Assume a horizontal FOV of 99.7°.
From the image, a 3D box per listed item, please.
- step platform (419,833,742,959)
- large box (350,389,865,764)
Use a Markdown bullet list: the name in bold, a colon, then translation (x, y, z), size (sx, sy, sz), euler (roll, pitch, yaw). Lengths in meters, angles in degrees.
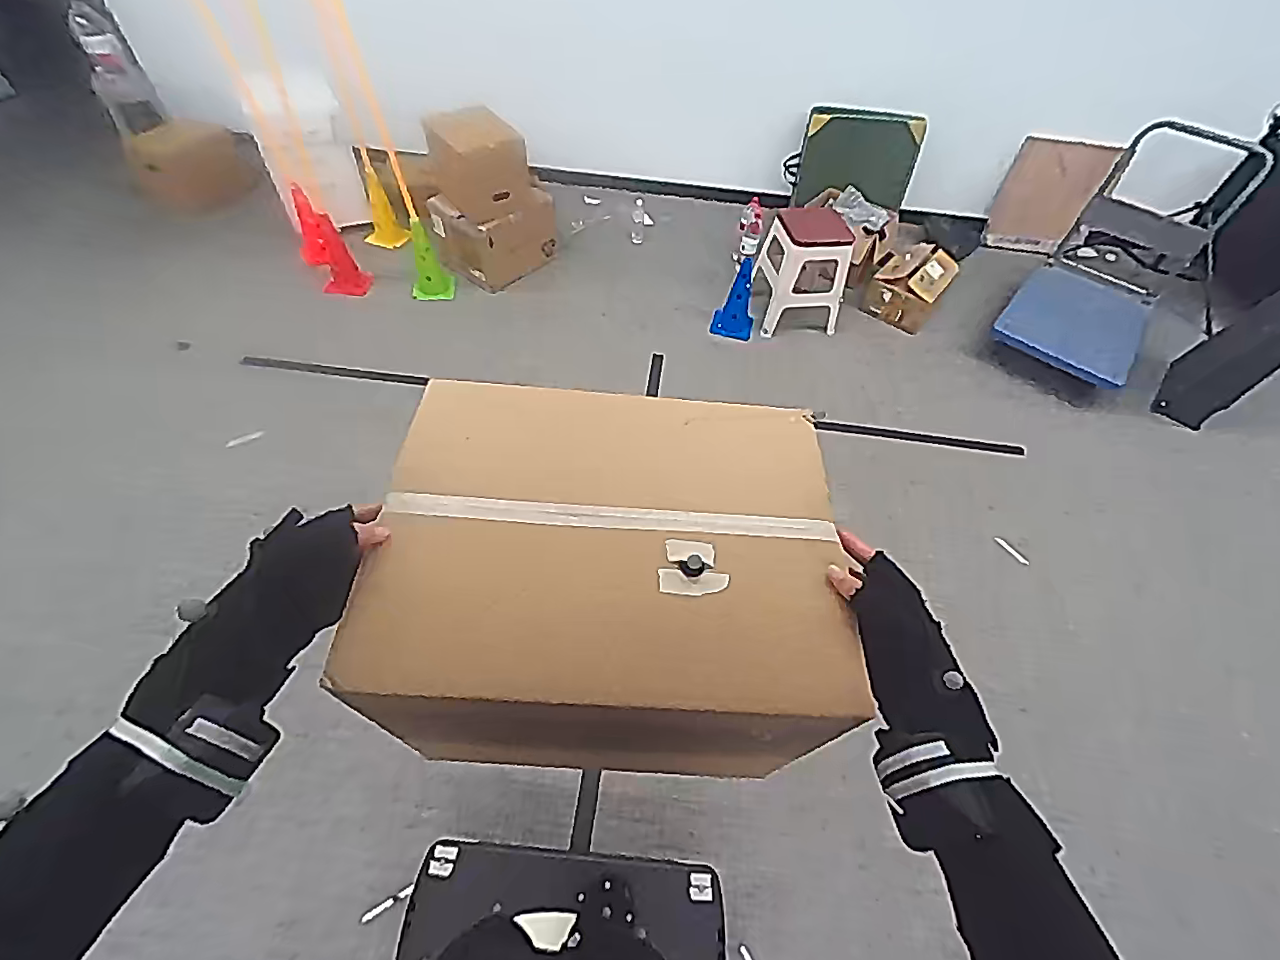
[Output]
- **step platform**: translation (-0.121, 0.980, 1.198), size (0.684, 0.204, 0.286), euler (6, 53, -1)
- **large box**: translation (-0.031, 0.125, 0.616), size (0.408, 0.320, 0.320), euler (4, 55, -3)
